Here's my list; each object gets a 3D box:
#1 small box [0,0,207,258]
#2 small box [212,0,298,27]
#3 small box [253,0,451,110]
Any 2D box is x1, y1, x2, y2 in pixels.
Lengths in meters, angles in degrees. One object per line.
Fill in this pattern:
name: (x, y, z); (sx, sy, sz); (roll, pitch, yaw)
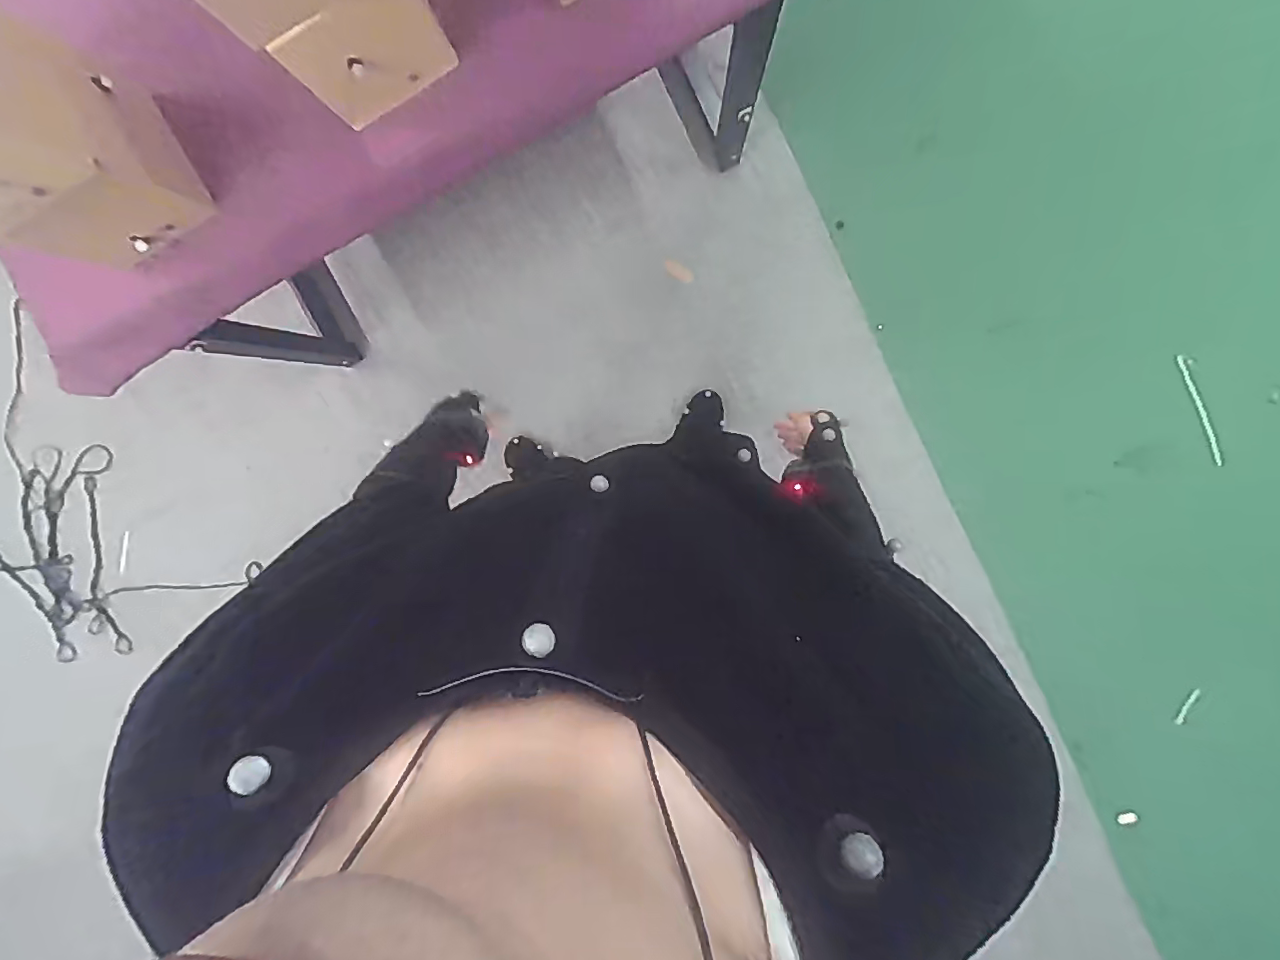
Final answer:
small box: (-0.700, -0.404, 0.660); (0.168, 0.176, 0.179); (-27, 96, 6)
small box: (-0.361, -0.549, 0.458); (0.179, 0.176, 0.168); (-24, 95, 5)
small box: (-0.351, -0.571, 0.620); (0.168, 0.176, 0.179); (-27, 94, 7)
